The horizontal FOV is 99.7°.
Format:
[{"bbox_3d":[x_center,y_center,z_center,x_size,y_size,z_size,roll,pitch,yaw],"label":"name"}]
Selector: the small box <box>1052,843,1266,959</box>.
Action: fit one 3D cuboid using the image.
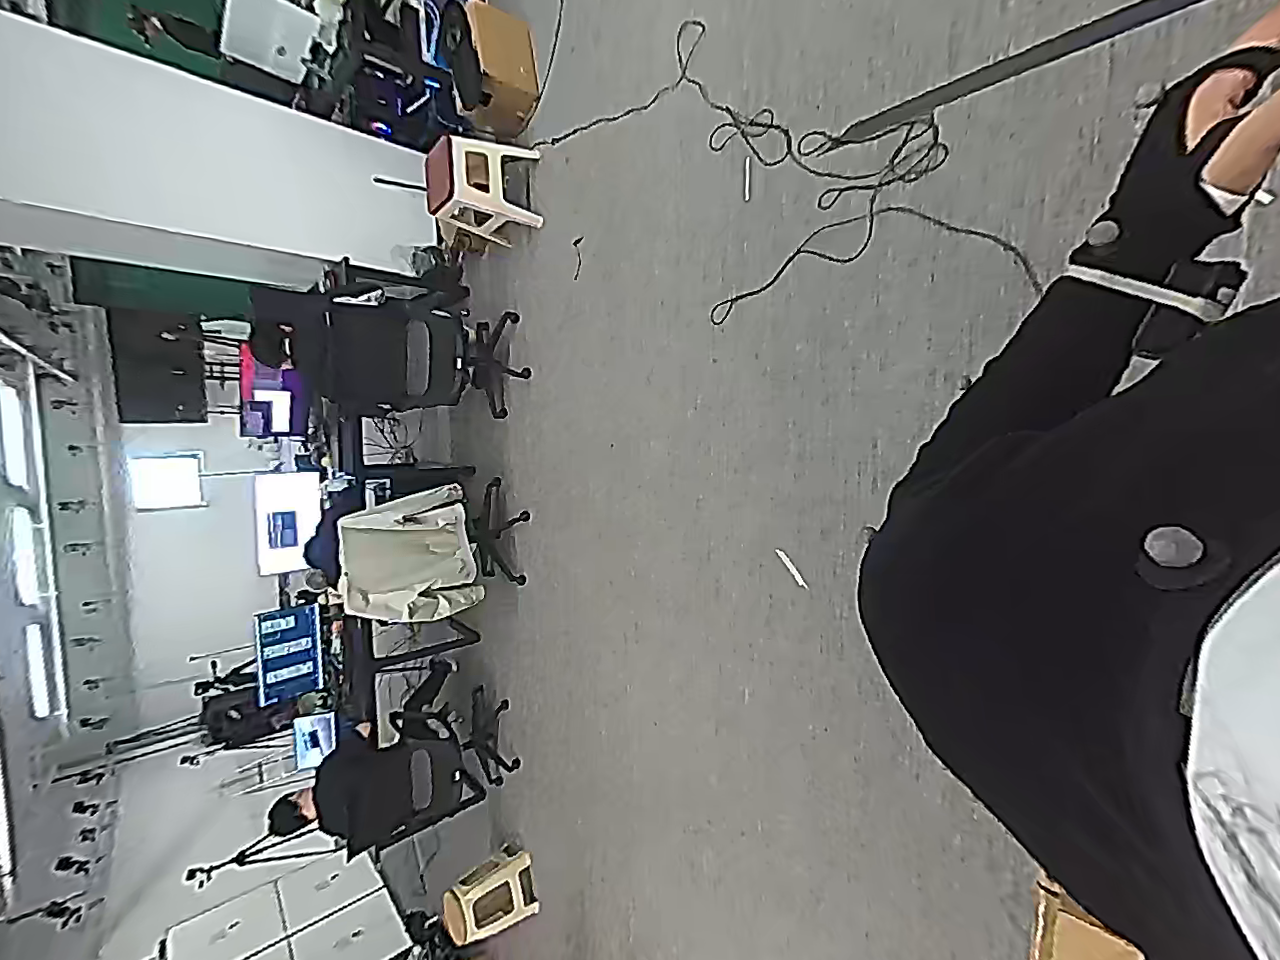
[{"bbox_3d":[0.600,0.583,0.631,0.168,0.176,0.179,7,97,47],"label":"small box"}]
